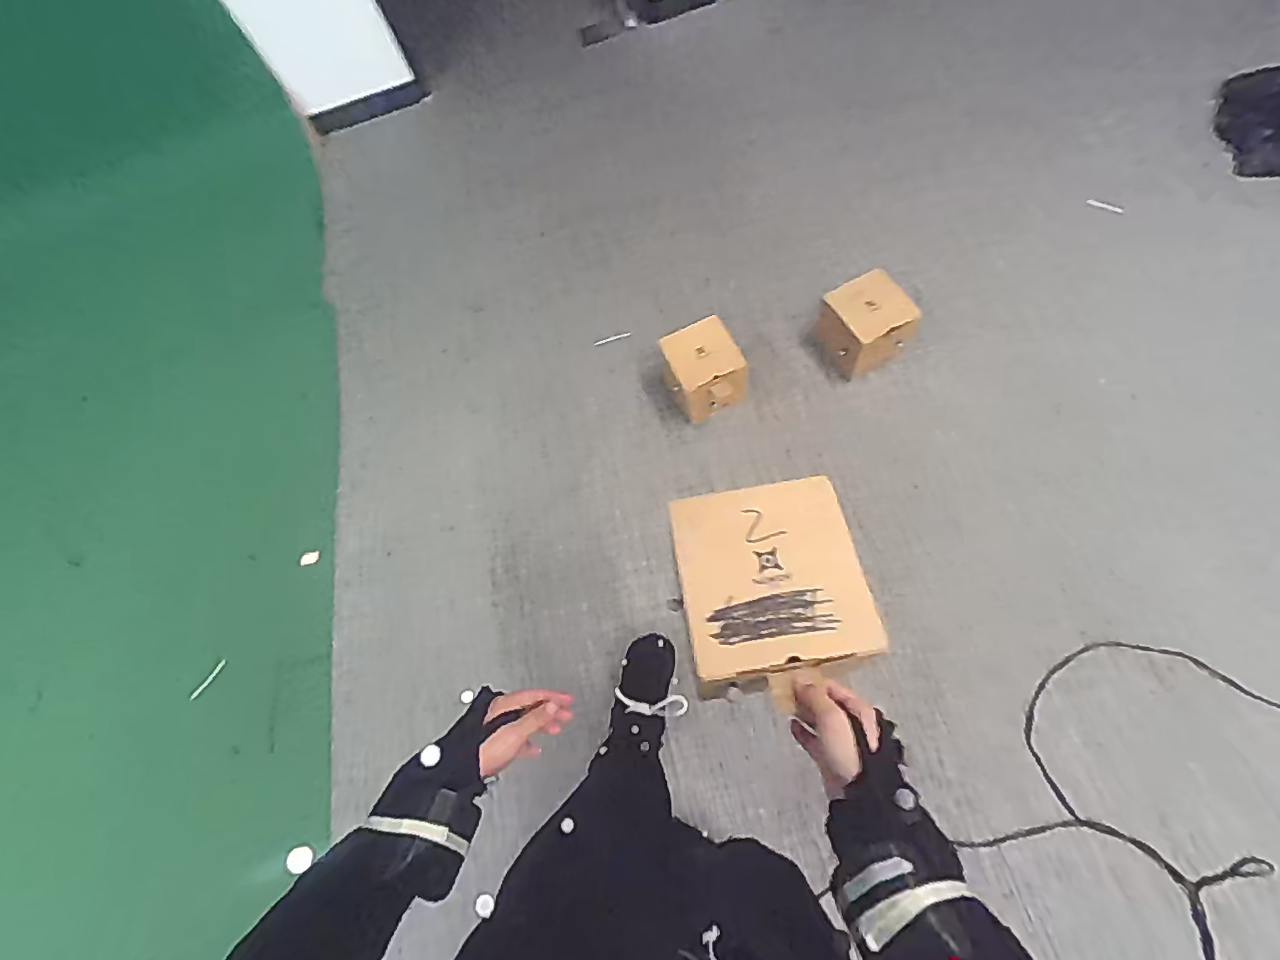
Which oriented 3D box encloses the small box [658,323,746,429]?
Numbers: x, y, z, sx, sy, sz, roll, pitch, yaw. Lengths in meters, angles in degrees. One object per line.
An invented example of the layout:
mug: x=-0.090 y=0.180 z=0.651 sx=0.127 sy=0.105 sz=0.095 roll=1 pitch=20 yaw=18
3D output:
small box: x=0.160 y=-0.265 z=1.407 sx=0.168 sy=0.176 sz=0.179 roll=-25 pitch=66 yaw=-2

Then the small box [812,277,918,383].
small box: x=0.566 y=-0.373 z=1.385 sx=0.168 sy=0.176 sz=0.179 roll=-27 pitch=64 yaw=-4
